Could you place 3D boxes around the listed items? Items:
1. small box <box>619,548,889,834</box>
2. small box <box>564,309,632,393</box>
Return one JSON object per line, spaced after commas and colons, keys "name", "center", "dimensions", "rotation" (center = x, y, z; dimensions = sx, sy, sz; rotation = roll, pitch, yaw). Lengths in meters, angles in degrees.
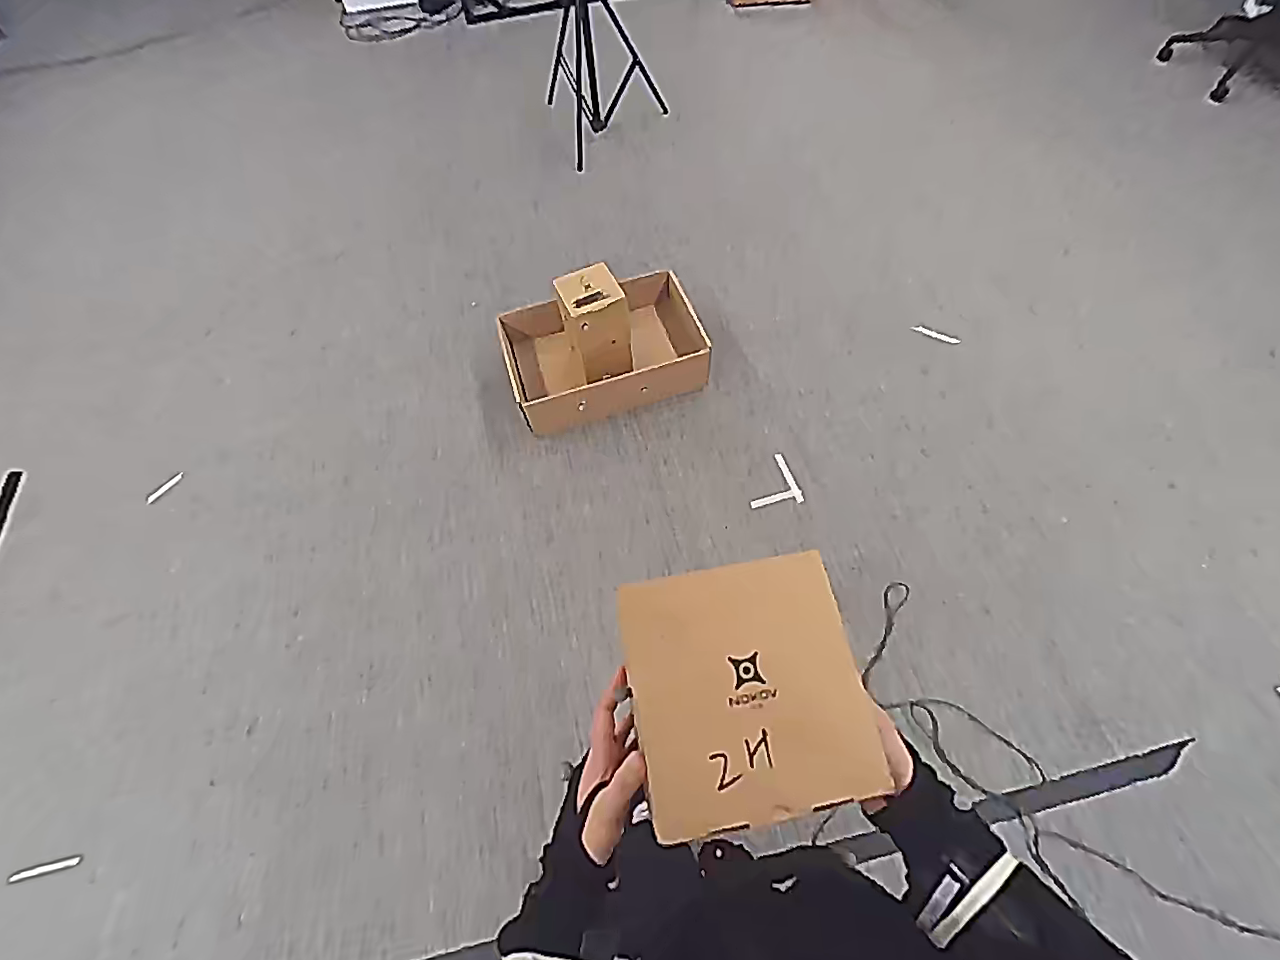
{"name": "small box", "center": [0.074, 0.176, 0.468], "dimensions": [0.168, 0.176, 0.179], "rotation": [-9, 67, -6]}
{"name": "small box", "center": [-0.133, -0.416, 1.760], "dimensions": [0.168, 0.176, 0.179], "rotation": [-22, 63, -8]}
